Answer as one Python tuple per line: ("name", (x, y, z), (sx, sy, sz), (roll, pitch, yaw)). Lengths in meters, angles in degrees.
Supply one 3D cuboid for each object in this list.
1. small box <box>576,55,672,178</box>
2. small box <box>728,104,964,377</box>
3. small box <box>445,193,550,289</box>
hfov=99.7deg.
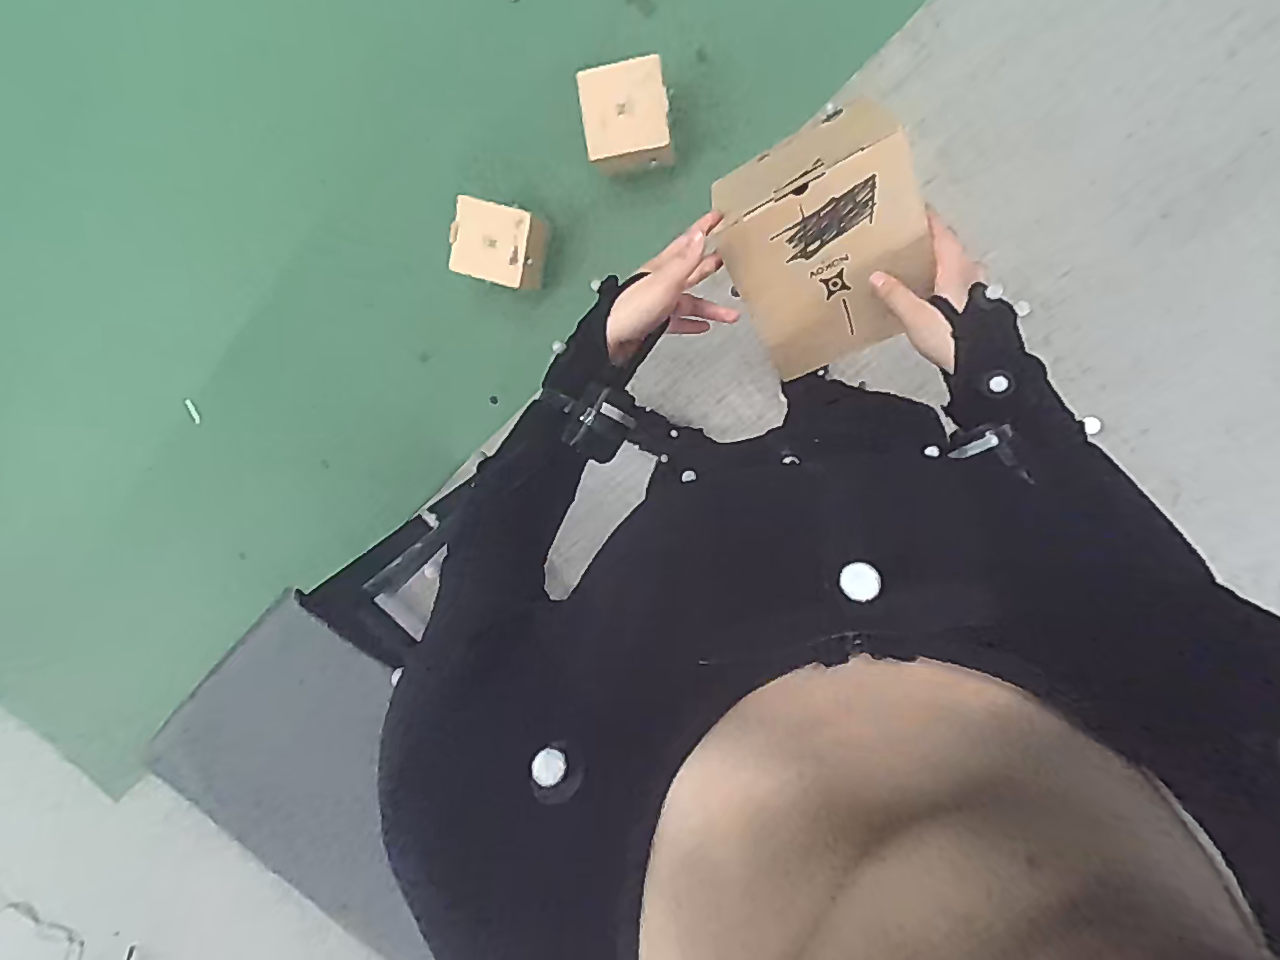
("small box", (-0.025, -0.782, 1.181), (0.179, 0.176, 0.168), (-6, 106, 10))
("small box", (0.196, -0.243, 0.544), (0.168, 0.176, 0.179), (-20, 128, 24))
("small box", (-0.336, -0.561, 1.293), (0.179, 0.176, 0.168), (17, 109, 3))
